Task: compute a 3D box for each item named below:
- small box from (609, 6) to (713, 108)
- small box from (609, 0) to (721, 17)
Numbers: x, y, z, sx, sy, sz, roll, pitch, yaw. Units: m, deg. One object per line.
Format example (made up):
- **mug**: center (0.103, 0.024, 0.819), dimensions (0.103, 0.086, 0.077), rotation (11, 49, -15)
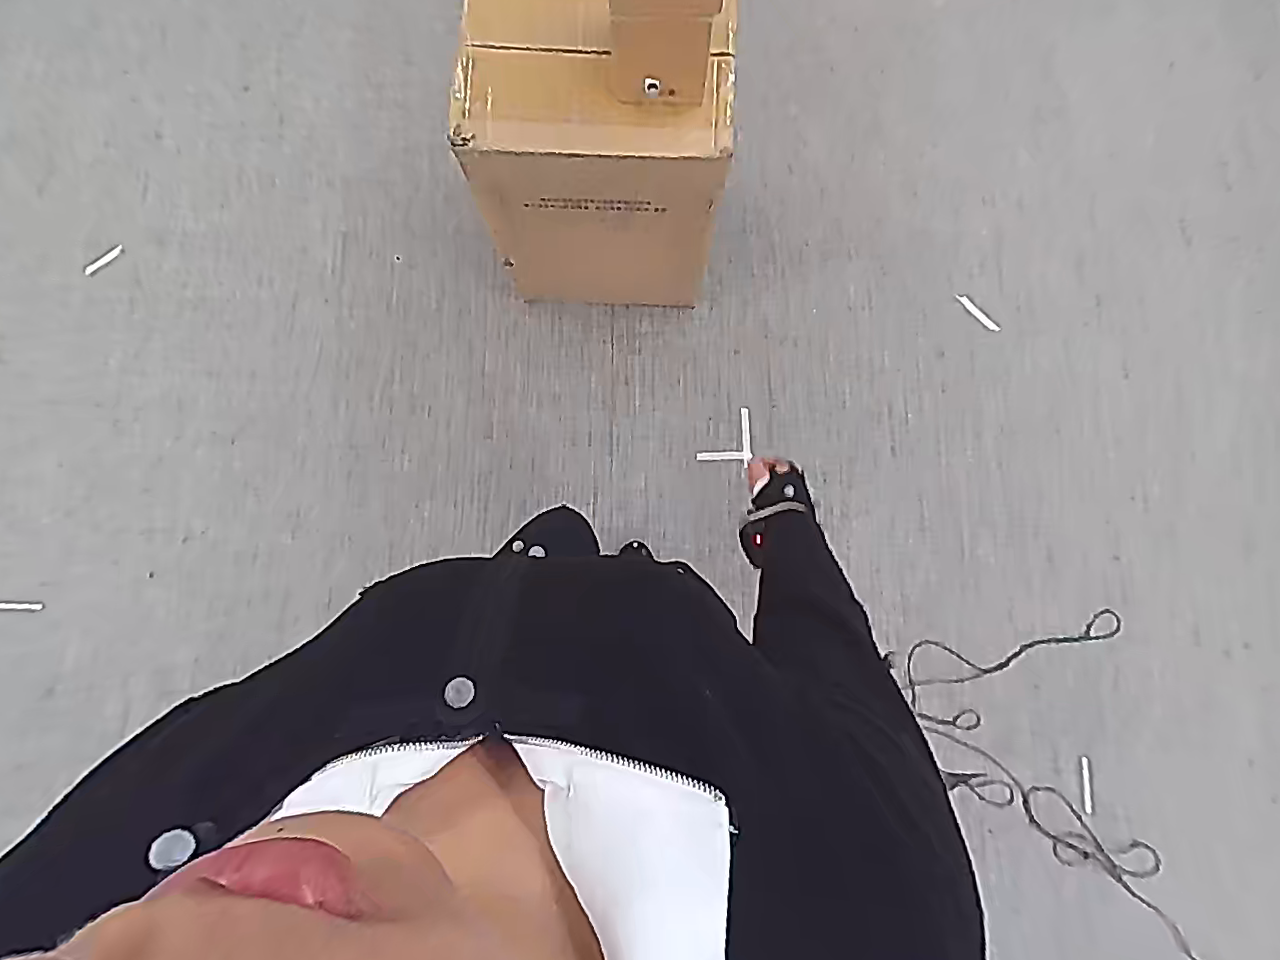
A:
- **small box**: center (0.037, -0.788, 0.932), dimensions (0.168, 0.176, 0.179), rotation (1, 84, 2)
- **small box**: center (0.038, -0.807, 0.768), dimensions (0.179, 0.176, 0.168), rotation (2, 83, 1)
